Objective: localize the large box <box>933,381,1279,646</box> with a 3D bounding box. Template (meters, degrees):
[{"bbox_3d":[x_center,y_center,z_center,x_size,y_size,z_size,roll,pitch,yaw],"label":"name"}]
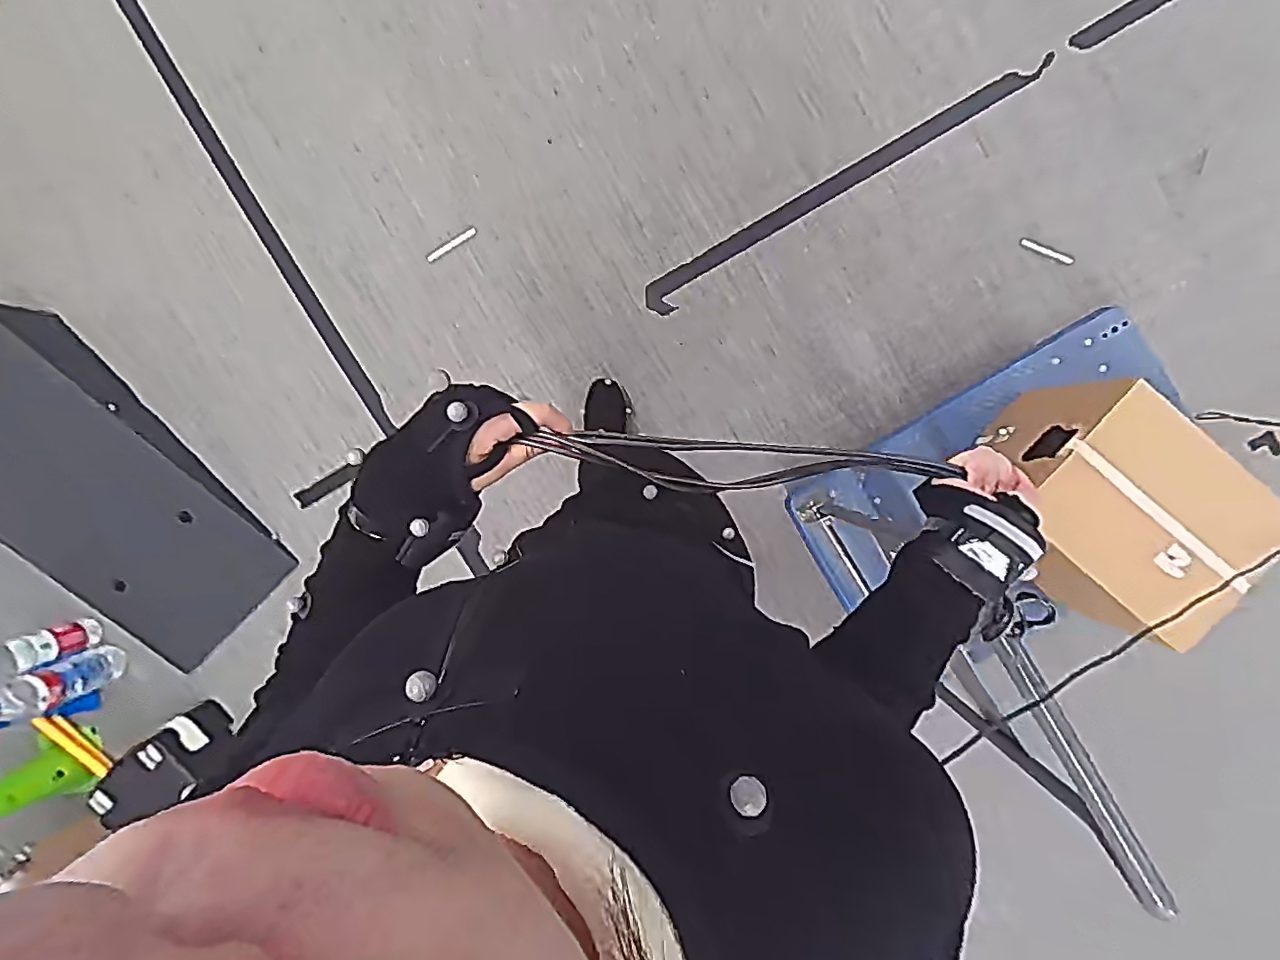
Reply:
[{"bbox_3d":[0.916,0.050,1.104,0.408,0.320,0.320,40,96,-2],"label":"large box"}]
